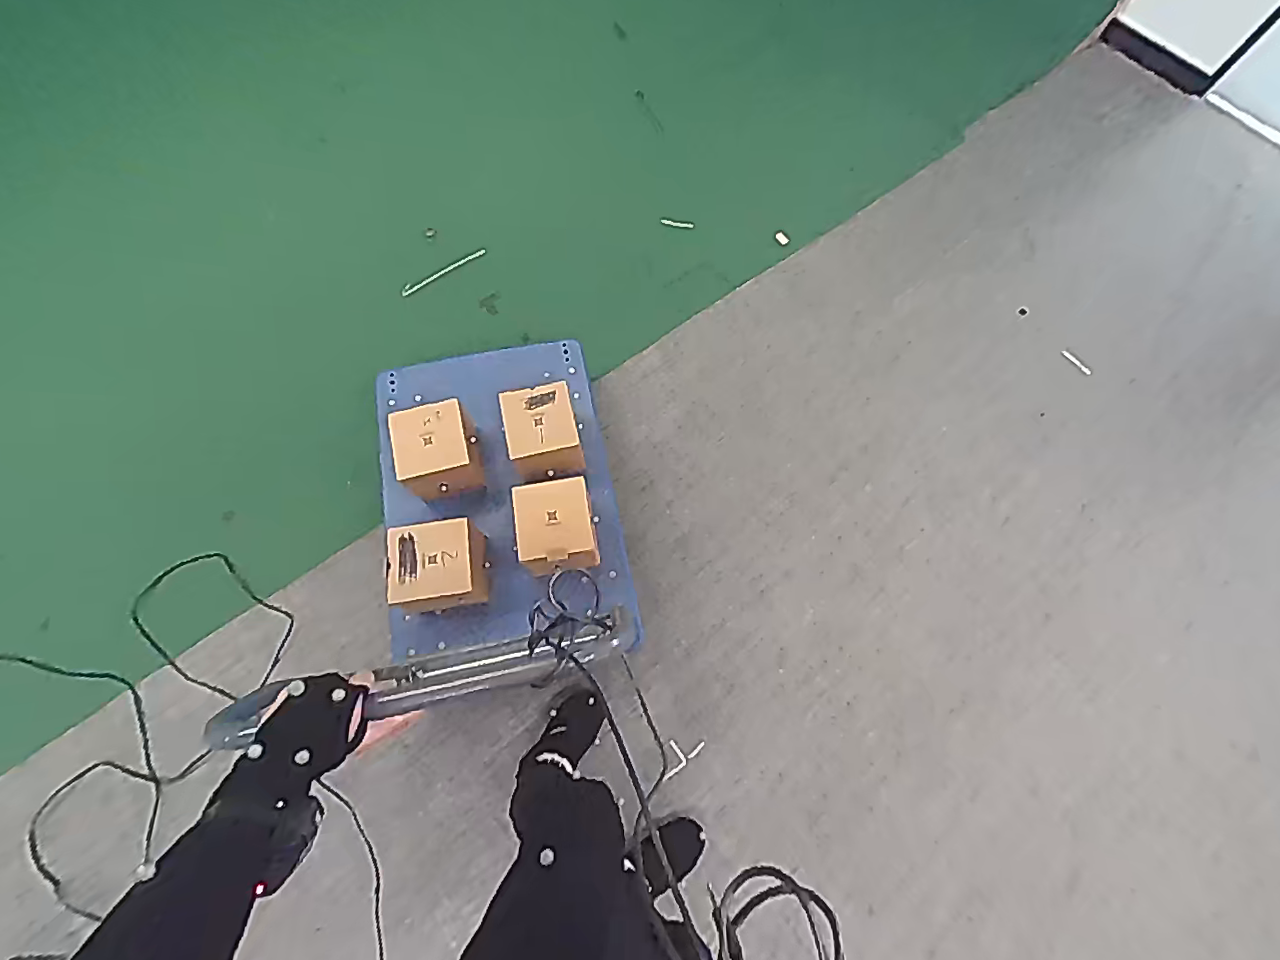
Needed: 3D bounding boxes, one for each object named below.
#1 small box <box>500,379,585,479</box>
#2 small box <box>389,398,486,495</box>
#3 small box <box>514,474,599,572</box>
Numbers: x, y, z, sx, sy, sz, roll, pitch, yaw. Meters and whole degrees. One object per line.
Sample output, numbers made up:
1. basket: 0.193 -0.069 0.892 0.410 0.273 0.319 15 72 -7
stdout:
1. small box: -0.236 -0.122 1.340 0.168 0.176 0.179 -13 73 -4
2. small box: -0.487 -0.072 1.321 0.168 0.176 0.179 -14 72 -6
3. small box: -0.192 0.105 1.264 0.168 0.176 0.179 -10 72 -4
